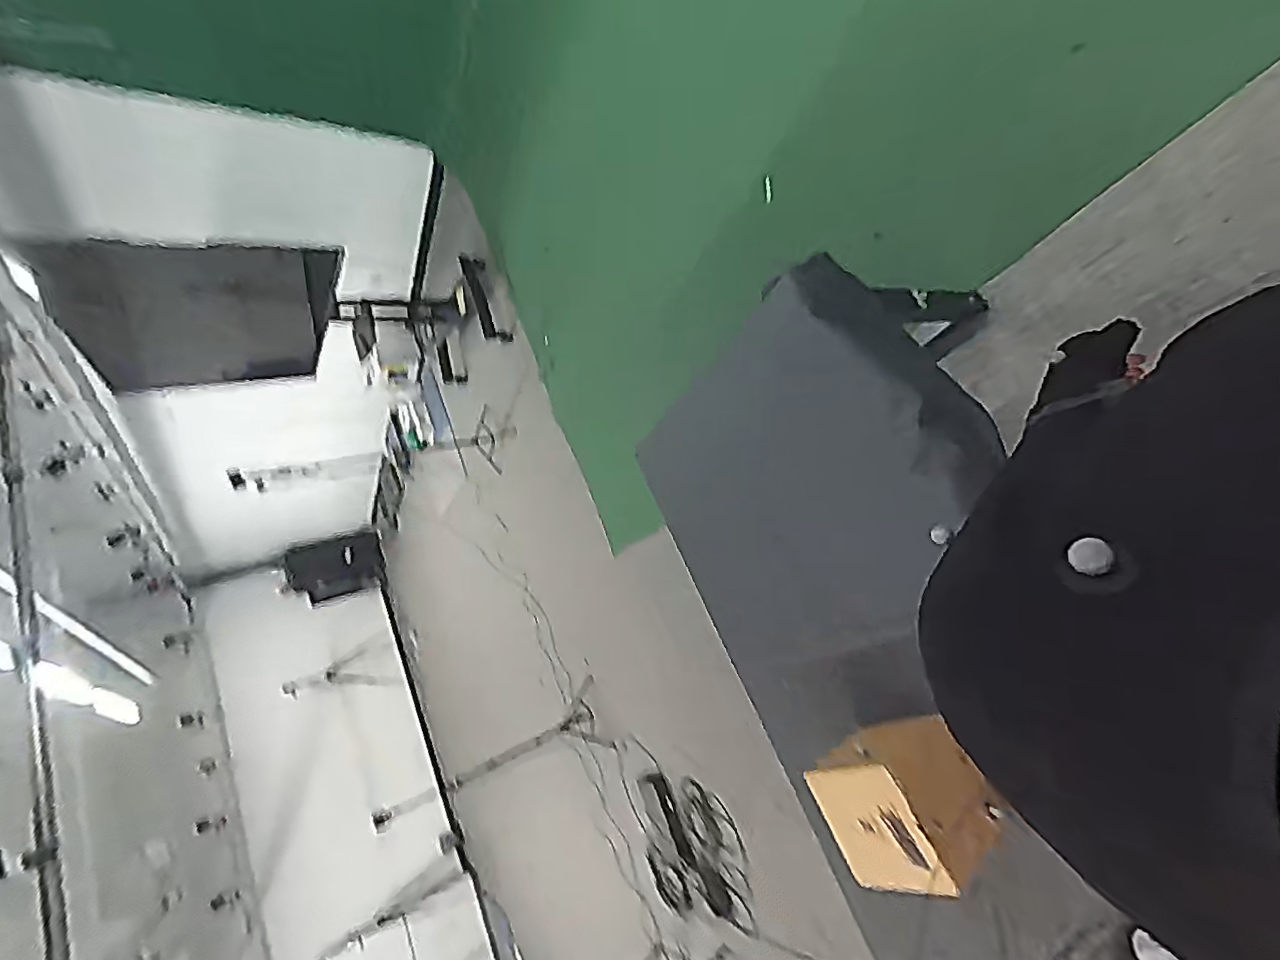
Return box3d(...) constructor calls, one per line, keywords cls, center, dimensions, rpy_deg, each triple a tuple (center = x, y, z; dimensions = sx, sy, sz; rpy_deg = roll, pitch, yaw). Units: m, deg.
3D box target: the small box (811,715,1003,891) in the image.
box3d(cls="small box", center=(0.406, 0.478, 0.818), dimensions=(0.168, 0.176, 0.179), rpy_deg=(63, 144, 19))
